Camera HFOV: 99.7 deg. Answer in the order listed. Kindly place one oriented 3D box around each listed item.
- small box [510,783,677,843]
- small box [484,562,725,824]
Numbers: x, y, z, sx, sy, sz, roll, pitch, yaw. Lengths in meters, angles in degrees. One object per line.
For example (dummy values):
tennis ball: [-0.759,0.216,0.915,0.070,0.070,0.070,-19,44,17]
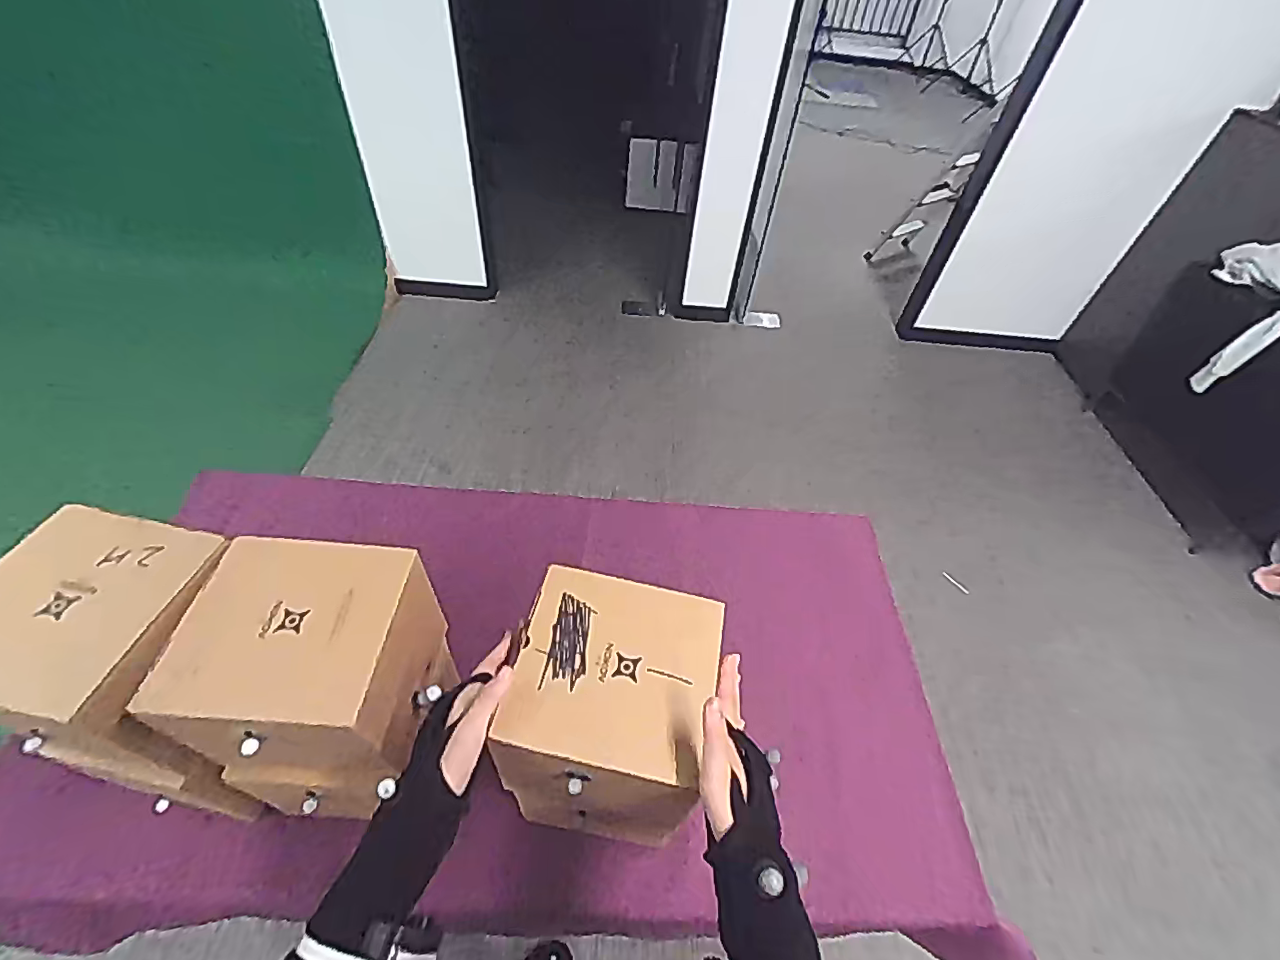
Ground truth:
small box: [-0.042,0.314,0.646,0.179,0.176,0.168,10,48,3]
small box: [-0.029,0.208,0.520,0.179,0.176,0.168,13,48,3]
